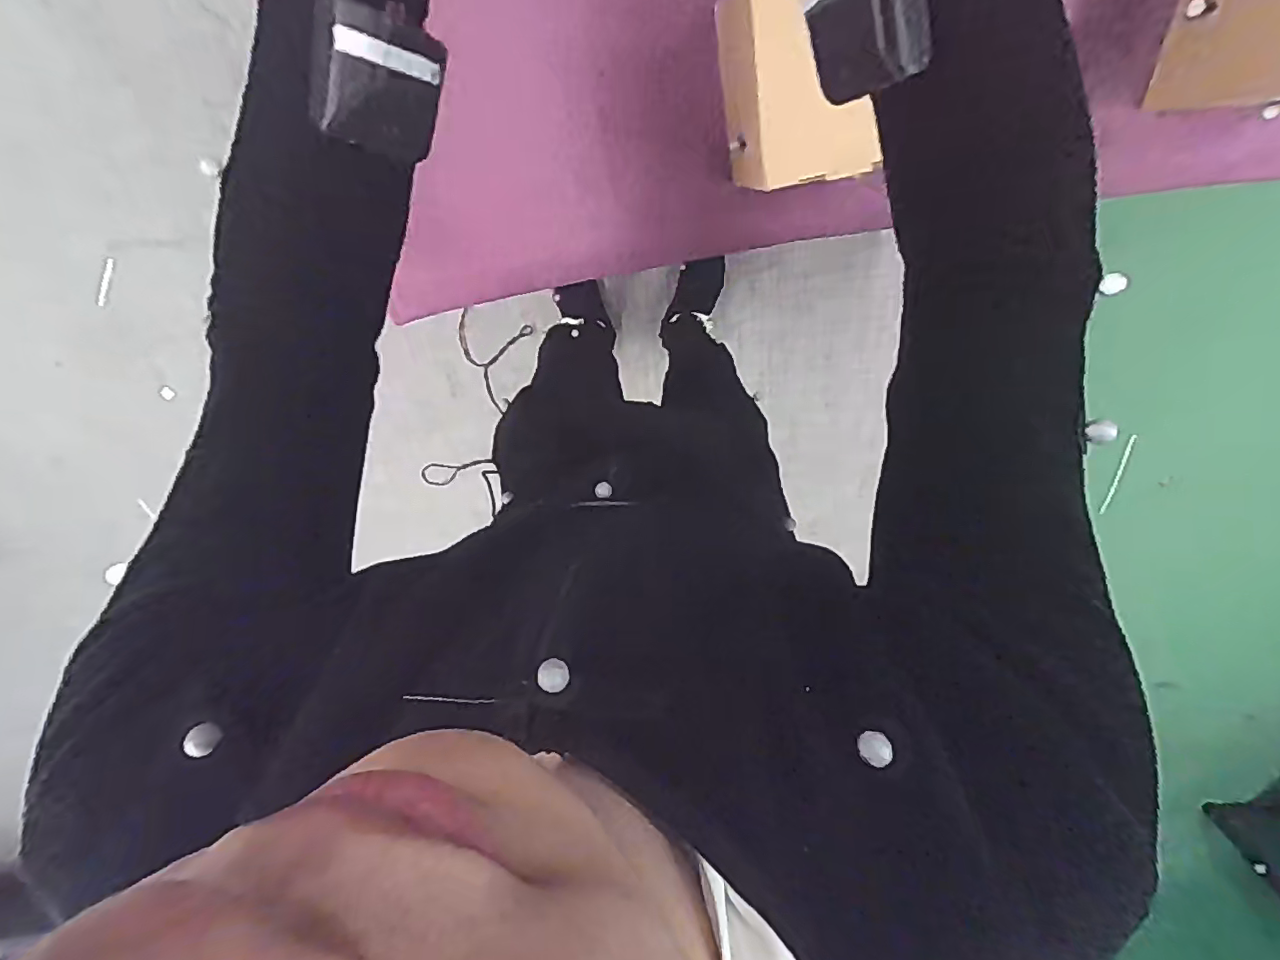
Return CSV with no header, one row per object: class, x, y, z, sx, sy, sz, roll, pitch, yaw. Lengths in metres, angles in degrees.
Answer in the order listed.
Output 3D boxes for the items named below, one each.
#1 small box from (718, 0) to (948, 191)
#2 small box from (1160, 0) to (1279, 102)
small box,0.178,-0.406,0.536,0.168,0.176,0.179,-11,121,4
small box,0.664,-0.469,0.511,0.168,0.176,0.179,-4,122,1
